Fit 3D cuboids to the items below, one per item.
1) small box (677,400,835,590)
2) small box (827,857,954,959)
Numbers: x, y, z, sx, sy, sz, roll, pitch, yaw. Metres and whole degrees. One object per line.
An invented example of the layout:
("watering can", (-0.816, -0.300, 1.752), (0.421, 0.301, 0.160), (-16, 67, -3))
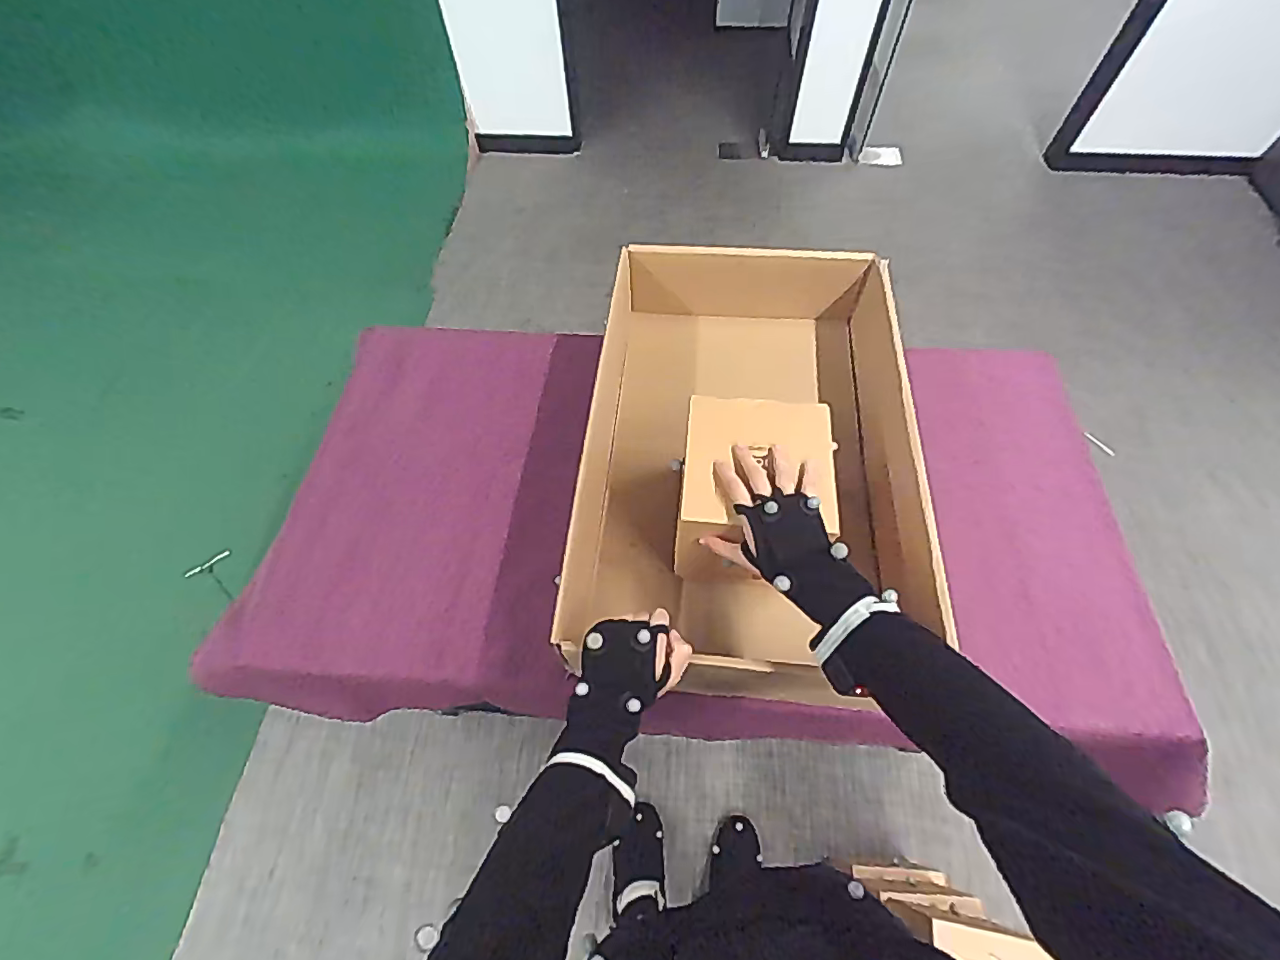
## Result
("small box", (0.134, 0.024, 0.673), (0.168, 0.176, 0.179), (5, 58, 5))
("small box", (0.491, 0.866, 1.080), (0.179, 0.176, 0.168), (2, 61, 3))
